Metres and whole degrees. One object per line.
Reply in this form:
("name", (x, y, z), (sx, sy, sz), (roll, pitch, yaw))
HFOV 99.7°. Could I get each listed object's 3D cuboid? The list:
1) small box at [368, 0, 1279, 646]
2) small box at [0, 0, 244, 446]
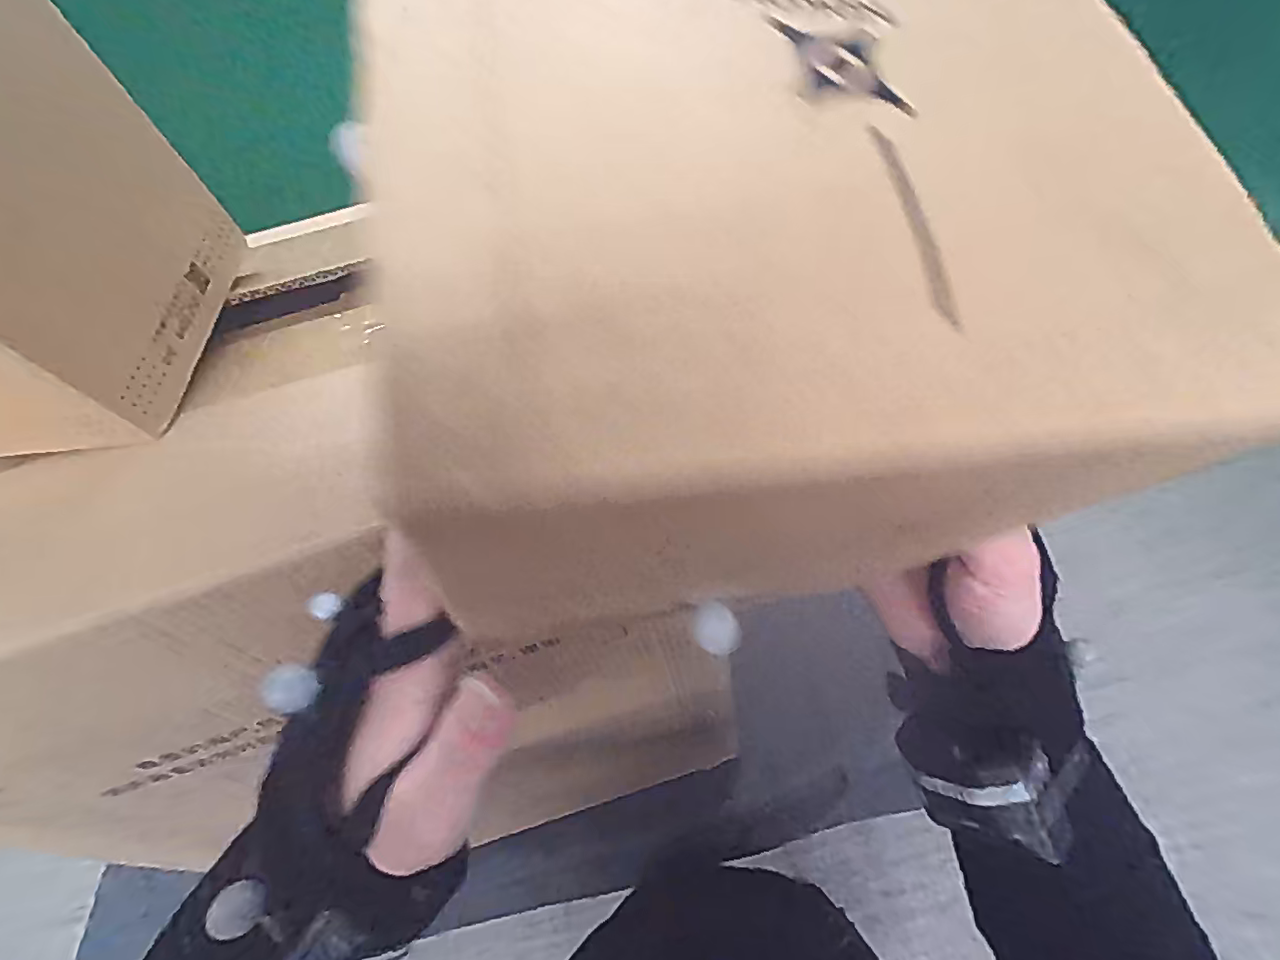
("small box", (0.020, -0.050, 0.175), (0.168, 0.176, 0.179), (-5, 73, -15))
("small box", (-0.355, -0.124, 0.263), (0.179, 0.176, 0.168), (-5, 62, 4))
